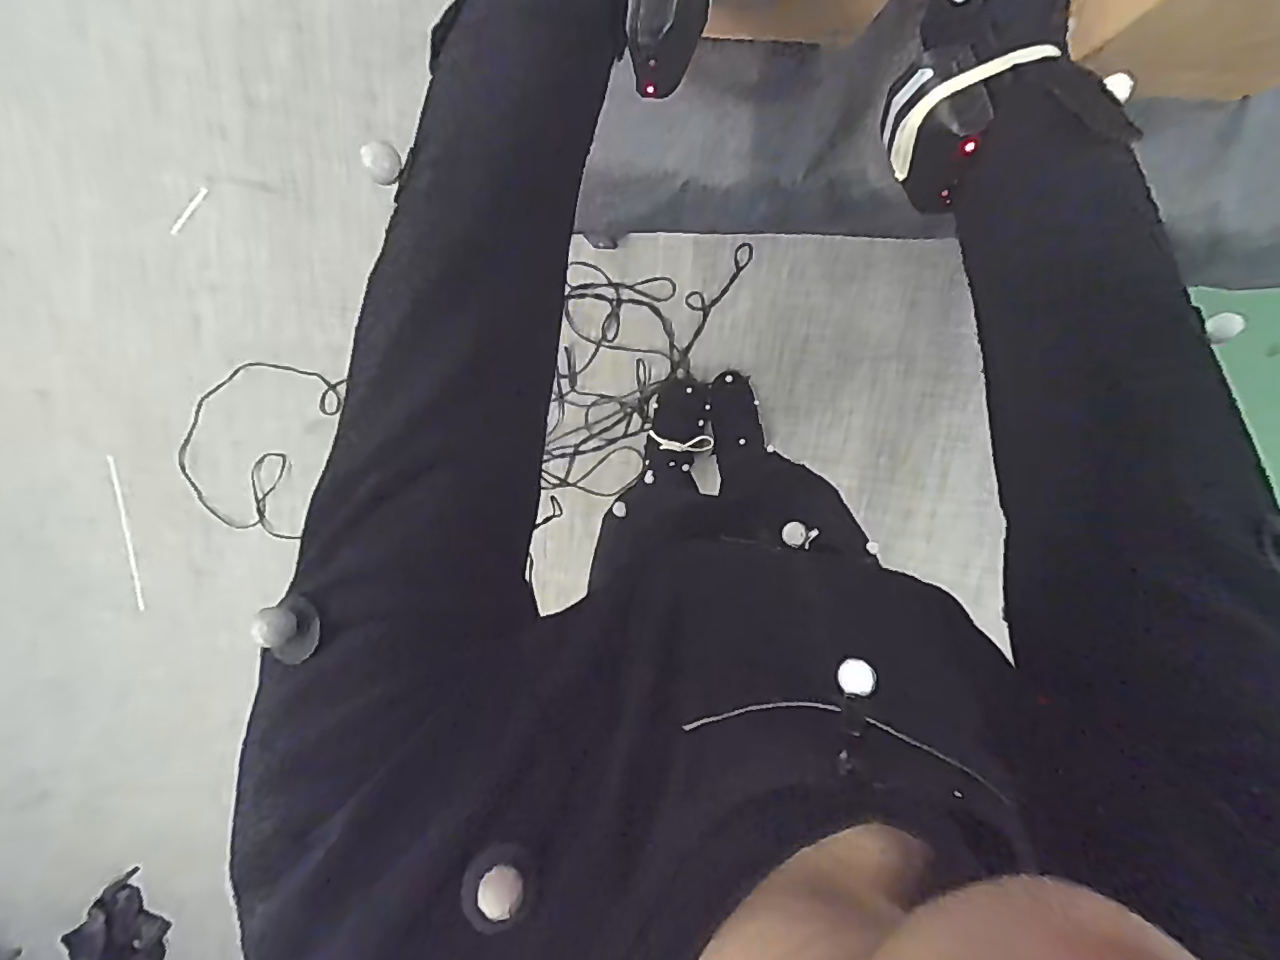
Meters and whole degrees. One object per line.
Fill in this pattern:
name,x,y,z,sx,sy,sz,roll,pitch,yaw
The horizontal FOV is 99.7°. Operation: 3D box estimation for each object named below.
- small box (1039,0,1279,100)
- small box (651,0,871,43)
small box,0.443,-0.406,0.391,0.179,0.176,0.168,6,105,1
small box,0.097,-0.430,0.371,0.179,0.176,0.168,4,114,0
